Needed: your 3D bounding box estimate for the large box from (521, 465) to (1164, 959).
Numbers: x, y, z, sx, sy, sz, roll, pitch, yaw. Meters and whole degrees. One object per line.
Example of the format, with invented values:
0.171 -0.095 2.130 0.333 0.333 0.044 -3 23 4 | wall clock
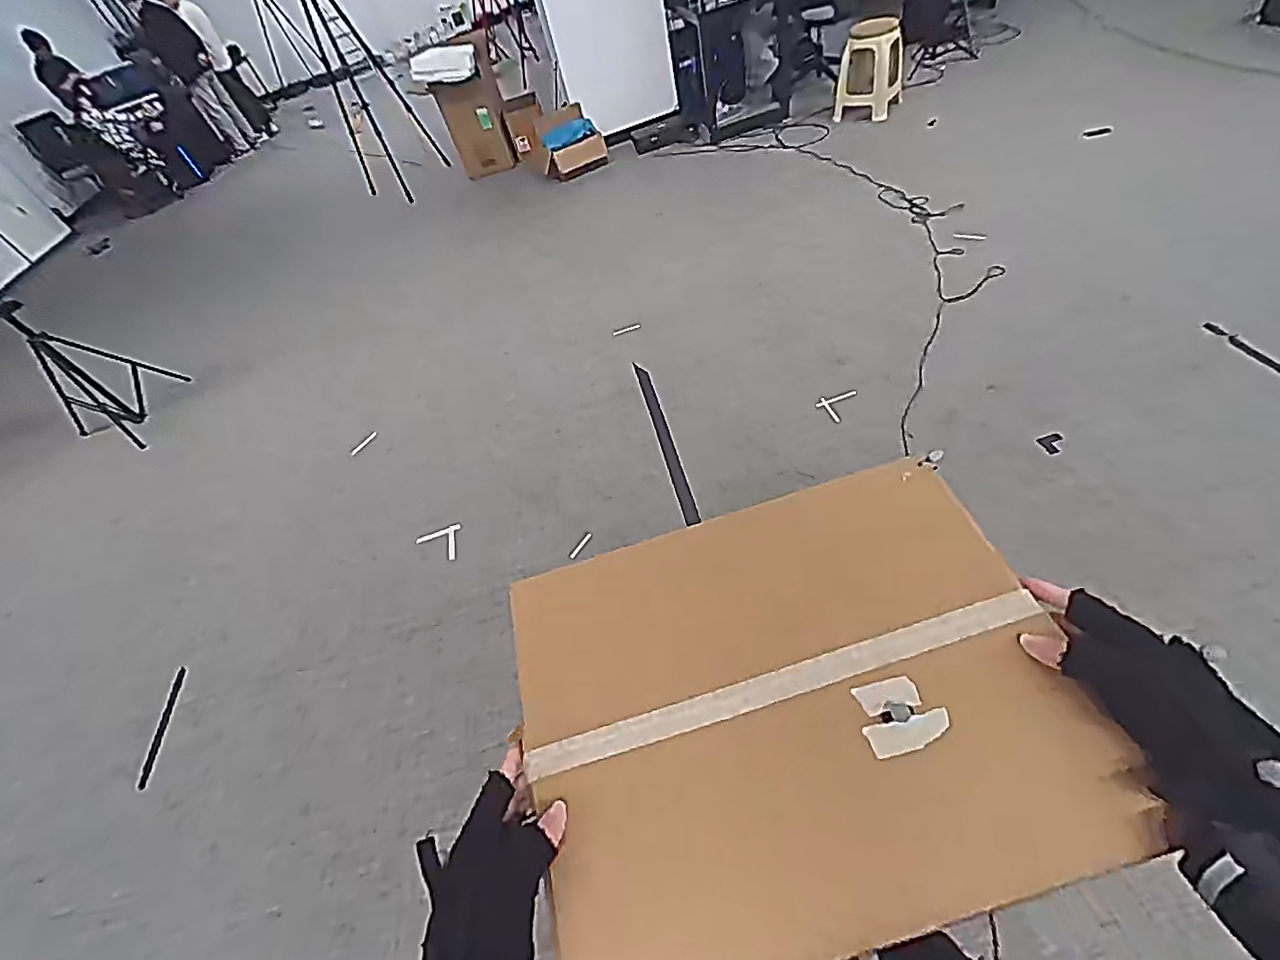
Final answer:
0.137 0.248 0.549 0.408 0.320 0.320 -18 54 0 | large box
